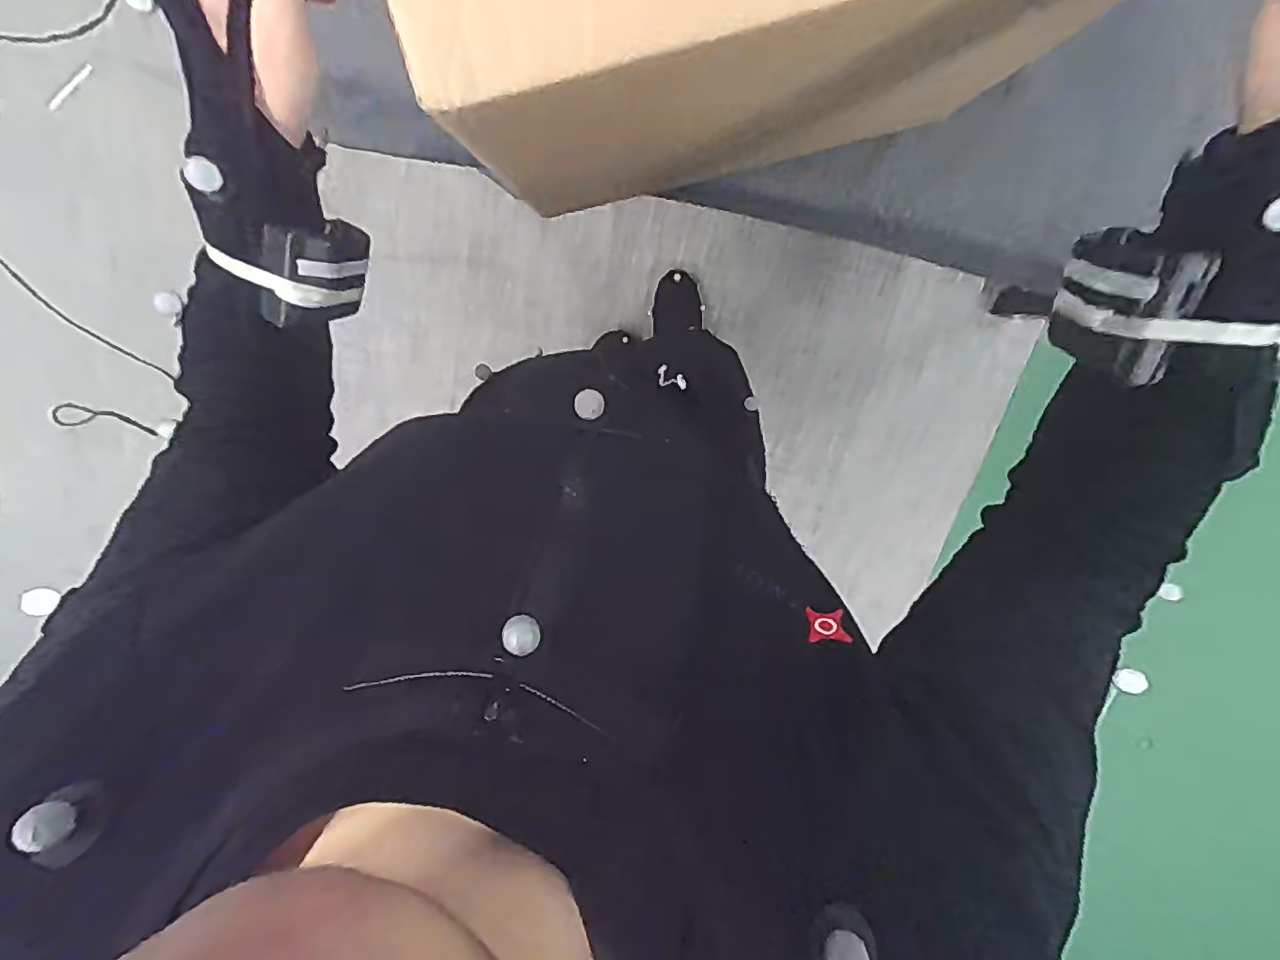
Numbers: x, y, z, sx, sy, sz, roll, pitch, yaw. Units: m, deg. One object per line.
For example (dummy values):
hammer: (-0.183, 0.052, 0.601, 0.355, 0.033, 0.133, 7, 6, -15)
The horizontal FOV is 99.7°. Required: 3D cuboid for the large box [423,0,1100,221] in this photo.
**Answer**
large box: (0.063, -0.406, 0.353, 0.408, 0.320, 0.320, -13, 107, 3)
